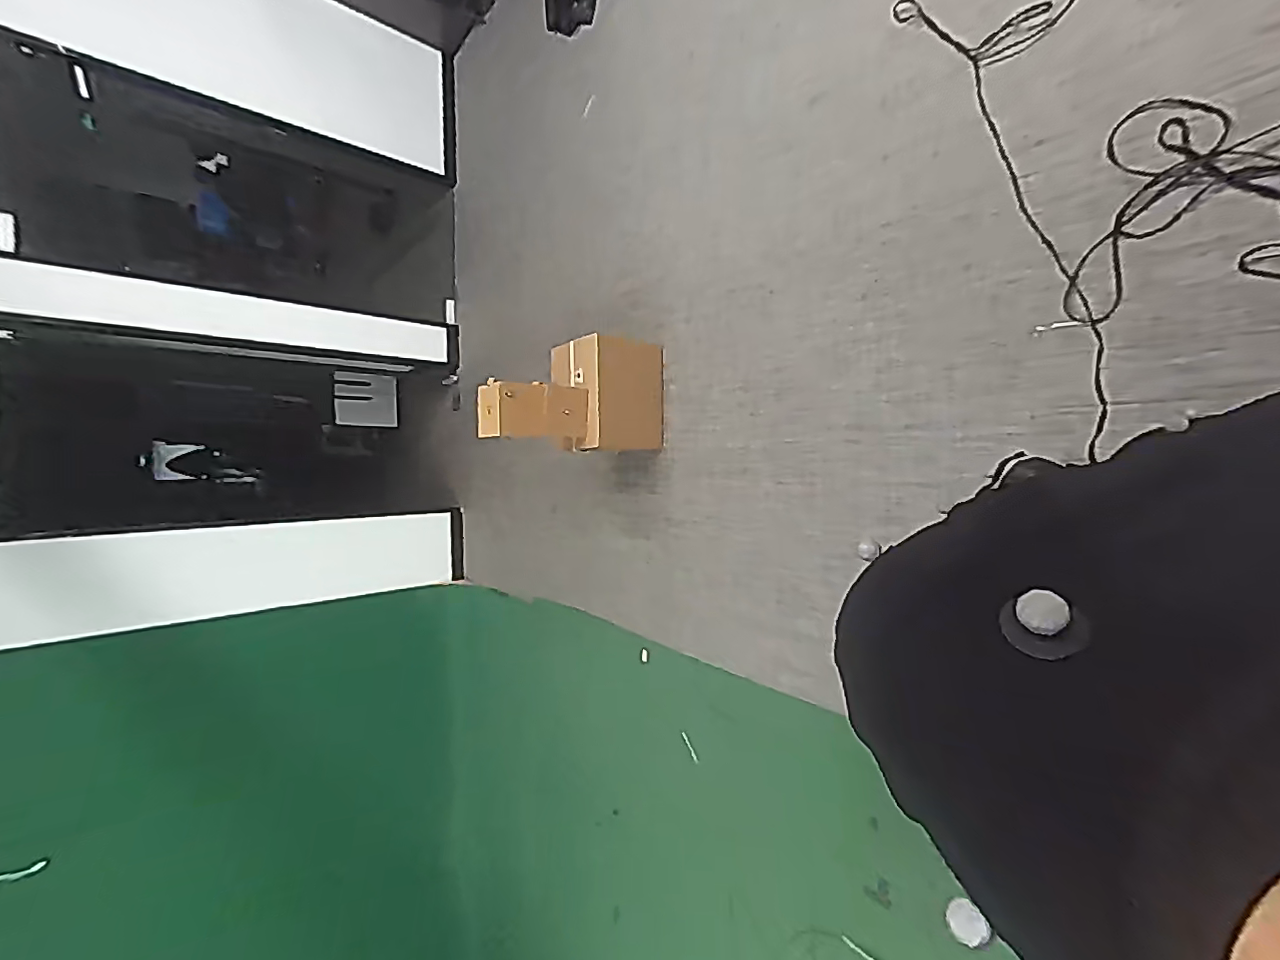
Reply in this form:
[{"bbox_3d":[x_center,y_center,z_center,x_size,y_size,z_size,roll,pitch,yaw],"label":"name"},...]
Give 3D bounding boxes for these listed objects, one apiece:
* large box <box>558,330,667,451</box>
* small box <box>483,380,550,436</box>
[{"bbox_3d":[-0.106,-0.323,2.086,0.320,0.320,0.408,0,90,49],"label":"large box"},{"bbox_3d":[-0.416,-0.237,1.825,0.168,0.176,0.179,2,93,50],"label":"small box"}]
